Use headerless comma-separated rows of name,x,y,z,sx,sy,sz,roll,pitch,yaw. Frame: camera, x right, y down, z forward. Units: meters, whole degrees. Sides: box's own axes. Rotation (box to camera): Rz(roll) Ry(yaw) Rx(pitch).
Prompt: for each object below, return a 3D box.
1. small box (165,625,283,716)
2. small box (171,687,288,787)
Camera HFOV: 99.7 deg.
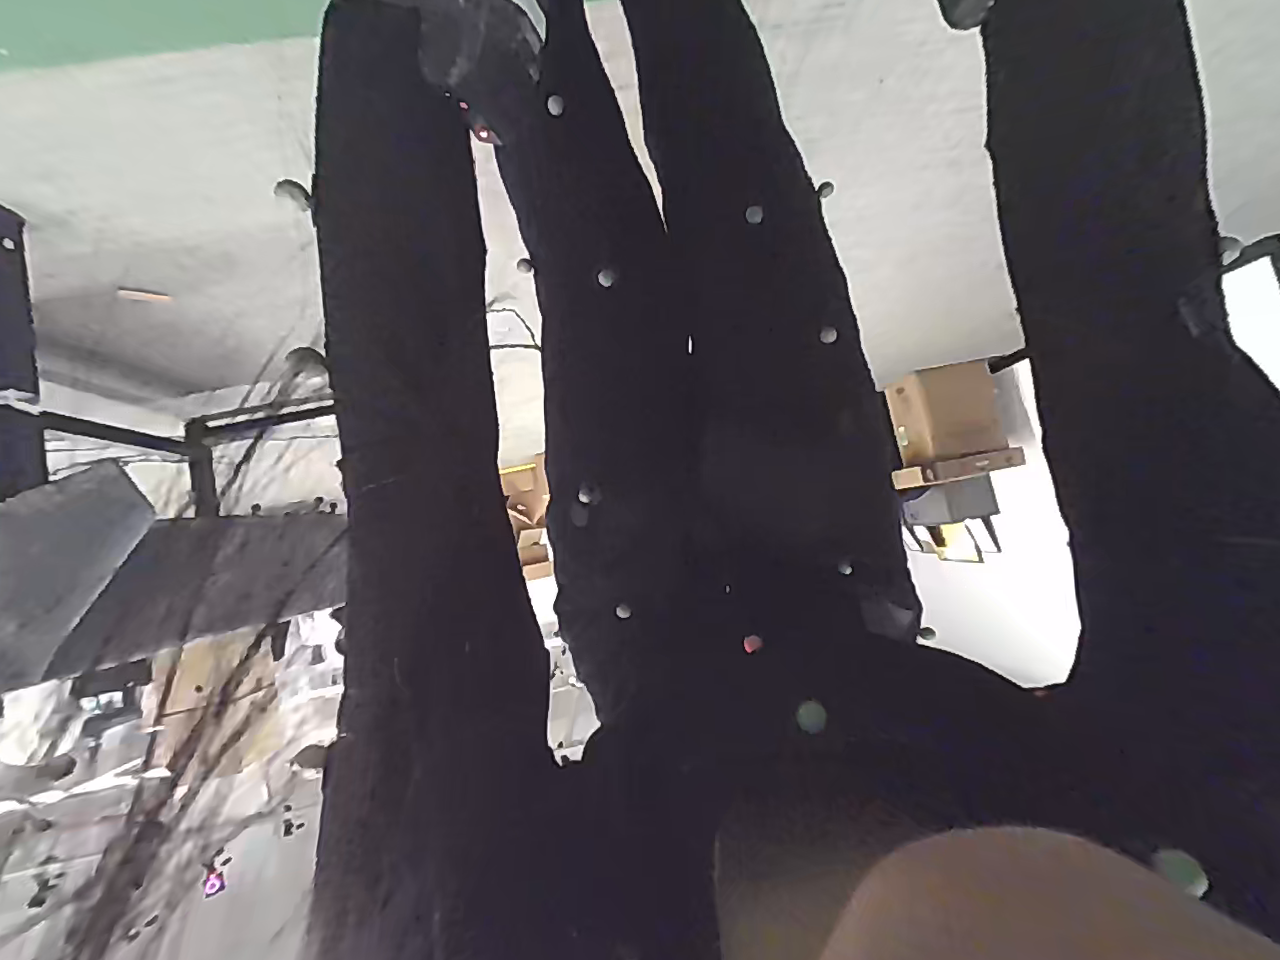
small box,-1.046,0.468,1.361,0.179,0.176,0.168,-10,174,-3
small box,-1.015,0.626,1.343,0.179,0.176,0.168,-11,174,-3
